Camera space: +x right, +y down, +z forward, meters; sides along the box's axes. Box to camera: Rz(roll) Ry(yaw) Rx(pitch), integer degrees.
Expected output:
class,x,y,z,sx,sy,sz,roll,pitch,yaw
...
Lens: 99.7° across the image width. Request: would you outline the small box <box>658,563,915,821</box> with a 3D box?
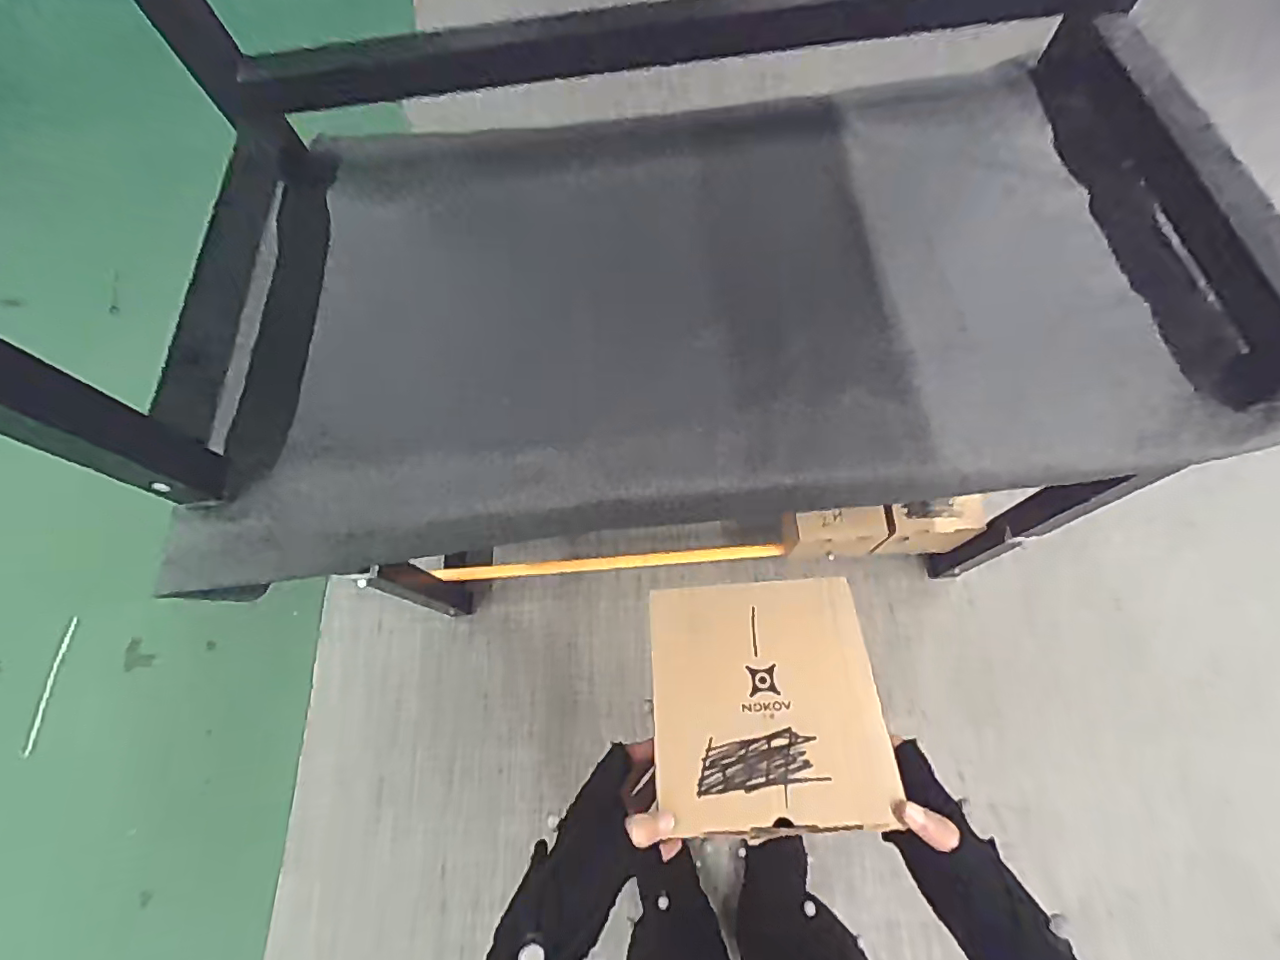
class,x,y,z,sx,sy,sz,roll,pitch,yaw
small box,0.107,0.190,0.467,0.168,0.176,0.179,-5,55,4
